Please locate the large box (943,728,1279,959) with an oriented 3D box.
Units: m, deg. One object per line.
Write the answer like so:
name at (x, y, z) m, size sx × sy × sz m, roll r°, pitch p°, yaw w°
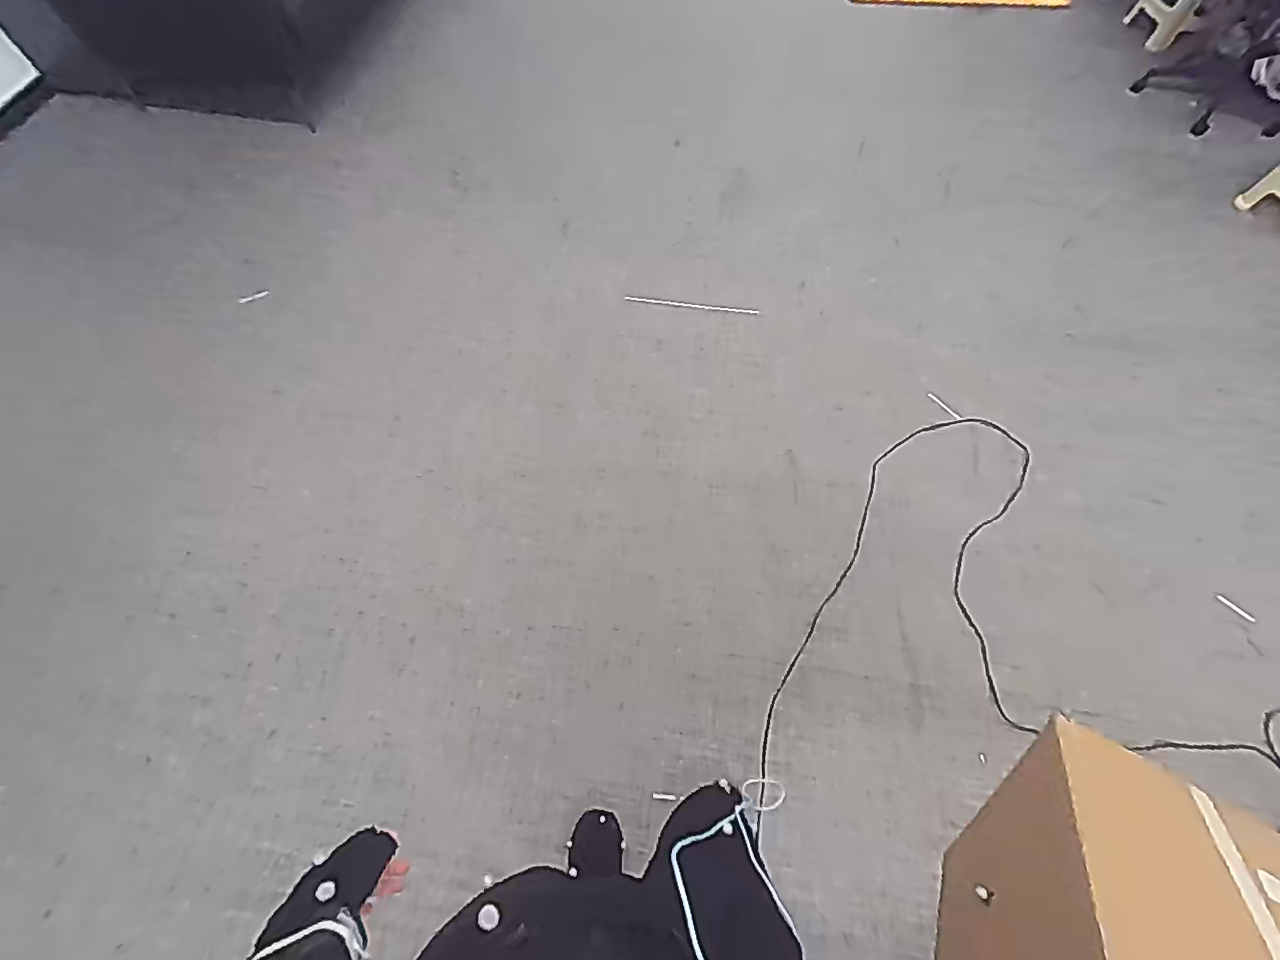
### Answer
large box at (0.547, 0.572, 0.573) m, size 0.320 × 0.320 × 0.408 m, roll 30°, pitch 23°, yaw 25°
